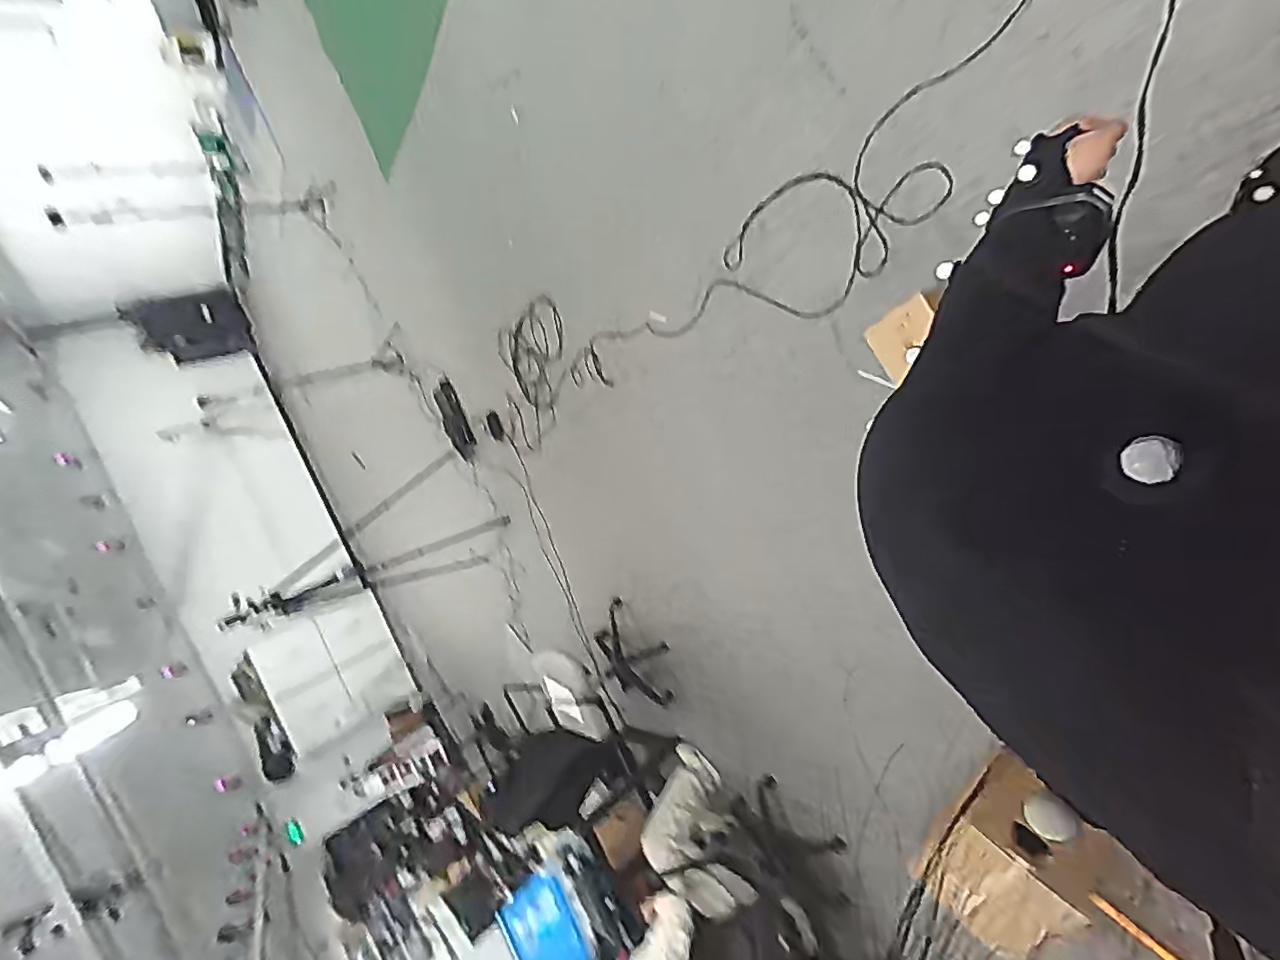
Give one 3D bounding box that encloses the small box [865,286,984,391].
[{"bbox_3d":[0.700,-0.349,1.323,0.168,0.176,0.179,-35,82,53],"label":"small box"}]
